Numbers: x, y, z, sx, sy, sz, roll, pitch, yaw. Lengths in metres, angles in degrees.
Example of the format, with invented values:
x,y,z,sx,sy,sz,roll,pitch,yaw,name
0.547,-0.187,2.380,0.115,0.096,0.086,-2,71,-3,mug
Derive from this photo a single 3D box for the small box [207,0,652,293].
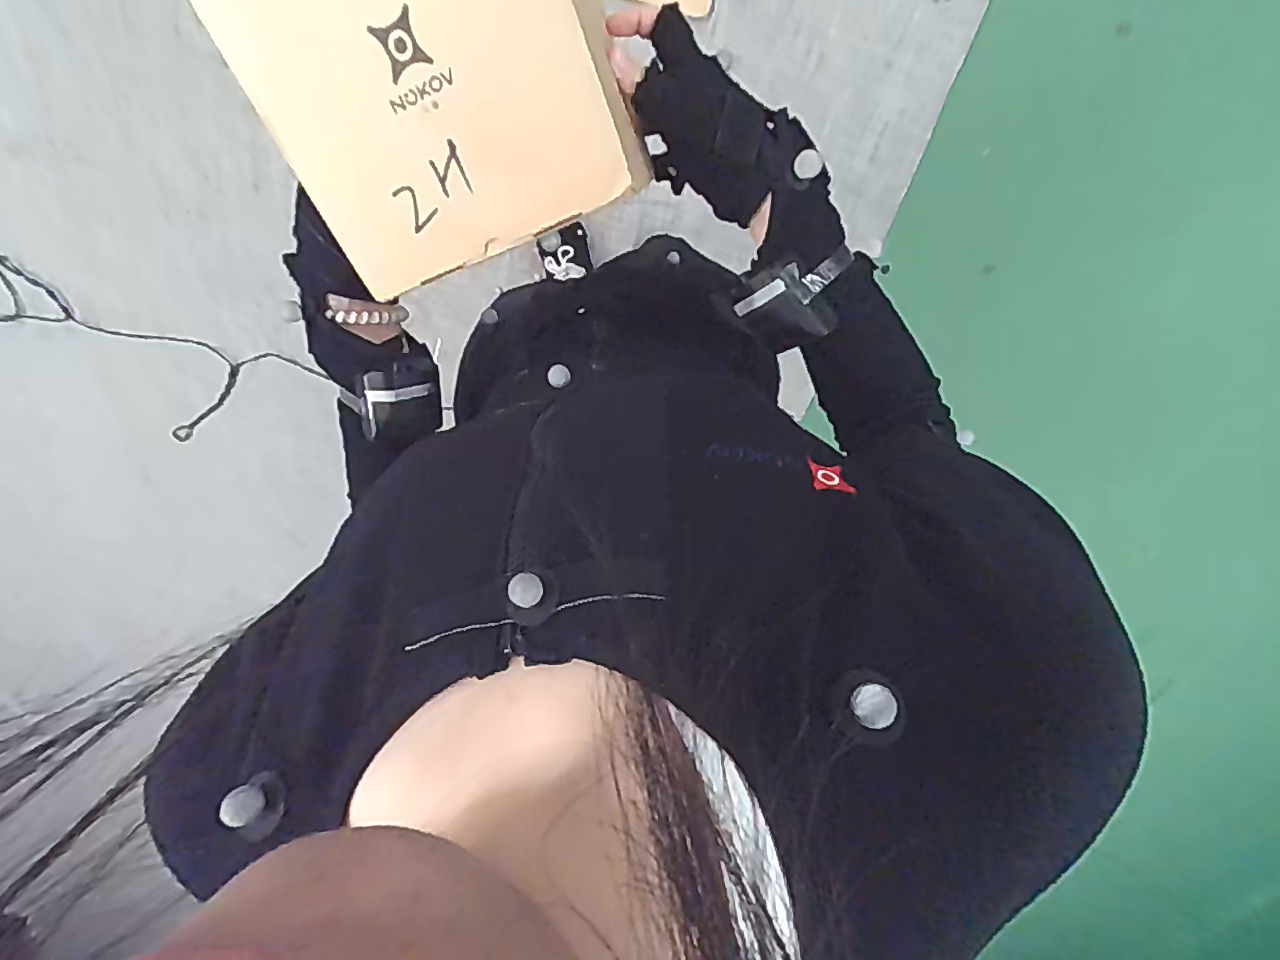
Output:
x,y,z,sx,sy,sz,roll,pitch,yaw,name
-0.098,-0.239,0.323,0.168,0.176,0.179,-15,120,15,small box
